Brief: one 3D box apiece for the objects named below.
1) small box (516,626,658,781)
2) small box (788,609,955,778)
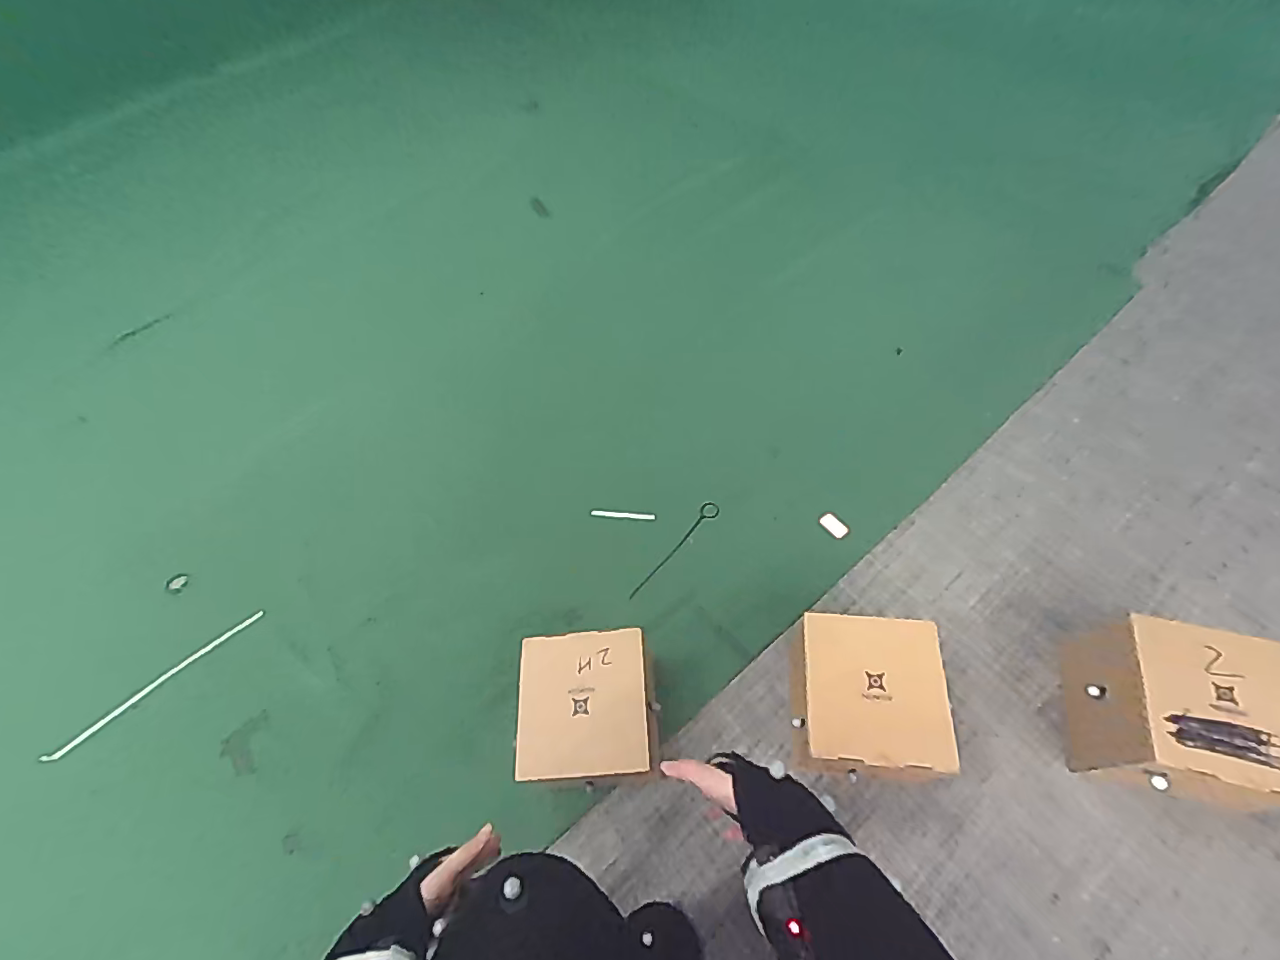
[{"bbox_3d":[-0.066,0.320,0.760,0.168,0.176,0.179,-6,57,3],"label":"small box"},{"bbox_3d":[0.295,0.292,0.734,0.168,0.176,0.179,2,59,9],"label":"small box"}]
